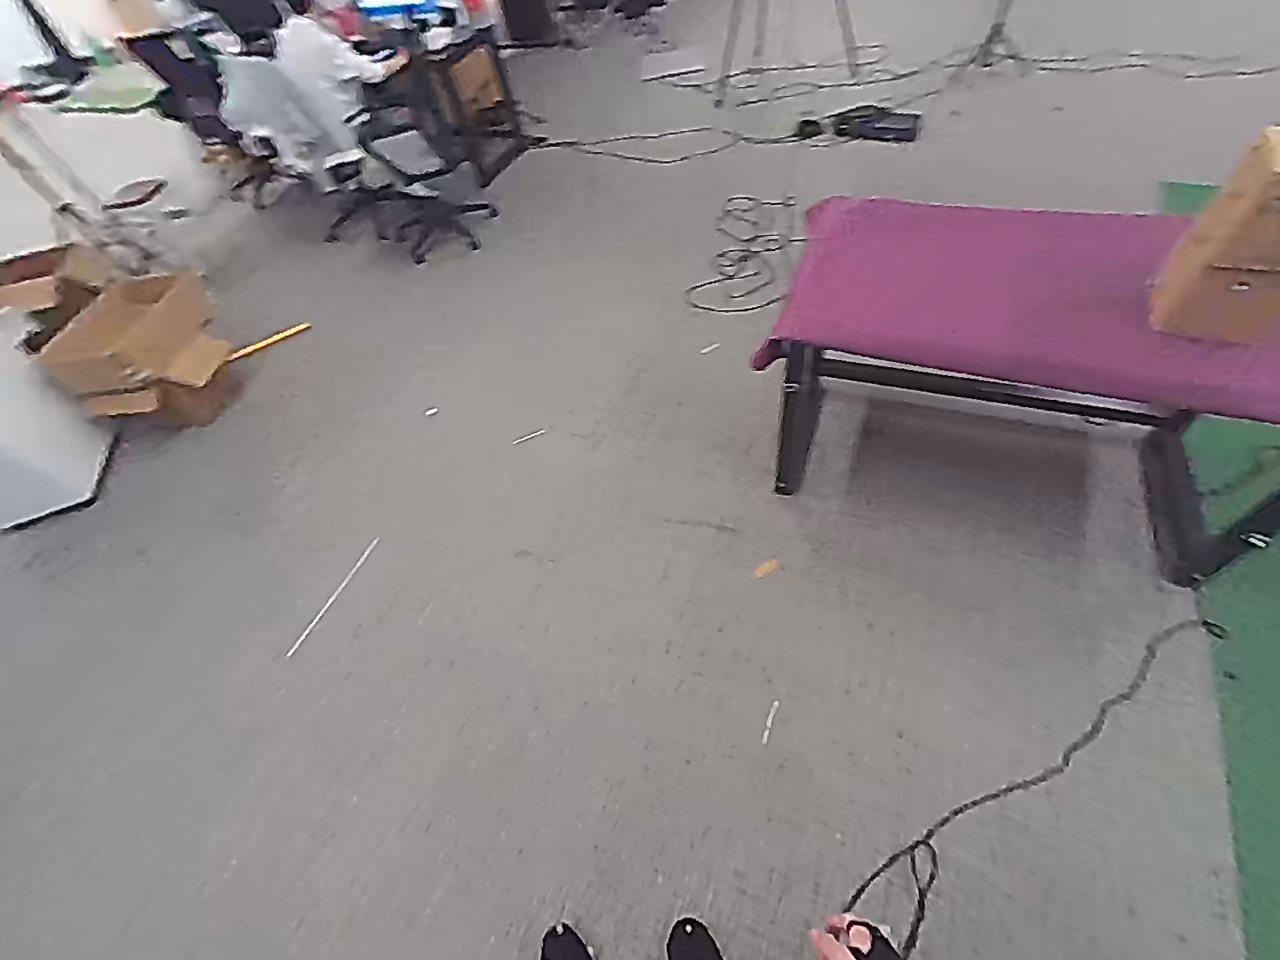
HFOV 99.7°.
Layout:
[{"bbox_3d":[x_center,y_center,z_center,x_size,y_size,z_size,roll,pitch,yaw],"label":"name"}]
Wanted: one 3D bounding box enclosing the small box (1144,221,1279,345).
[{"bbox_3d":[1.169,-0.396,1.096,0.179,0.176,0.168,17,58,21],"label":"small box"}]
